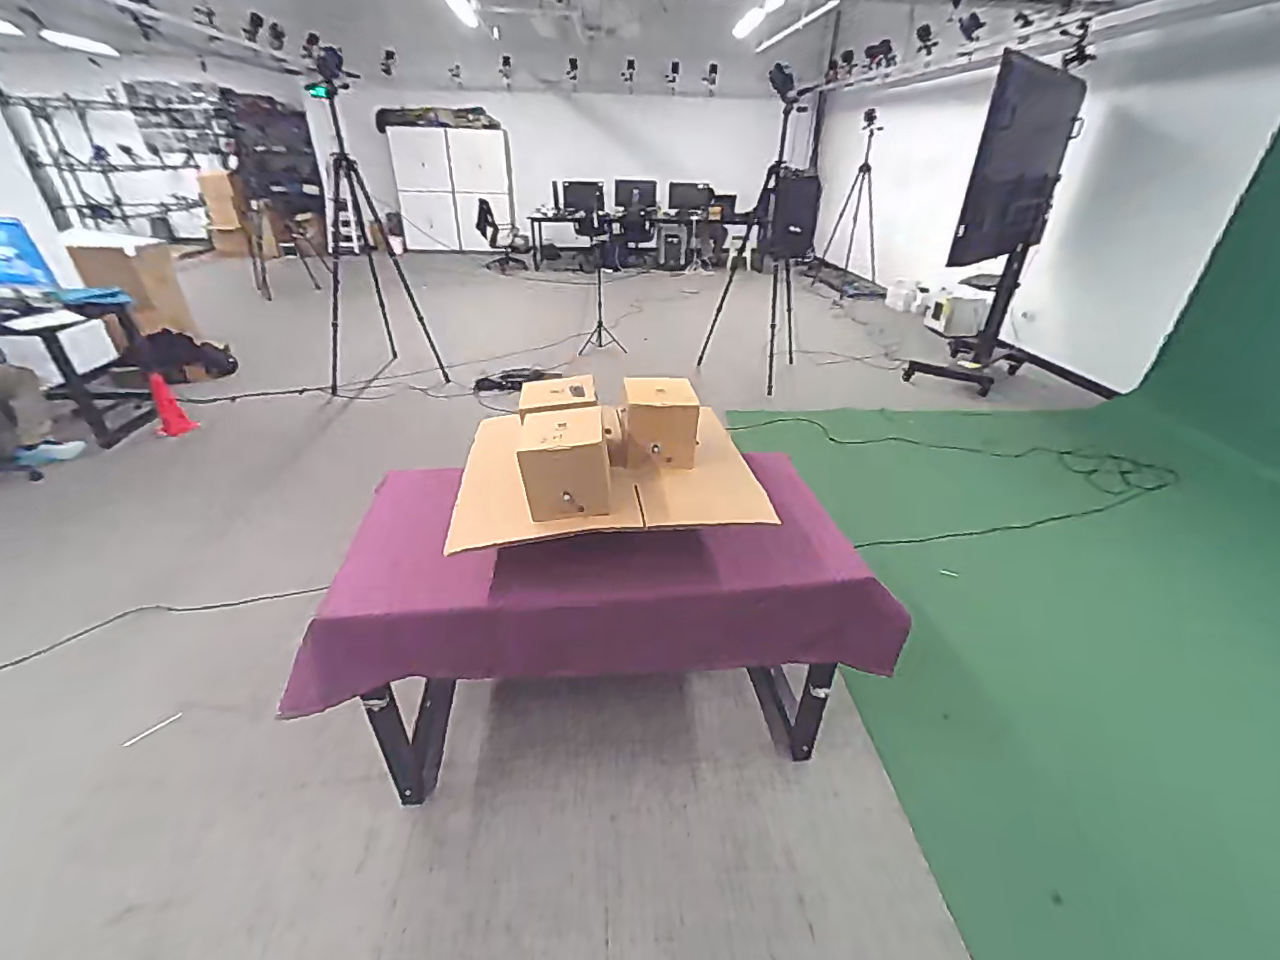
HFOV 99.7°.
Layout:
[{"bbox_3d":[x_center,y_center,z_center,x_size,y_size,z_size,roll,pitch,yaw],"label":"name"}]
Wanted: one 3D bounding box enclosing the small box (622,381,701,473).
[{"bbox_3d":[0.045,-0.133,1.331,0.168,0.176,0.179,0,32,-6],"label":"small box"}]
